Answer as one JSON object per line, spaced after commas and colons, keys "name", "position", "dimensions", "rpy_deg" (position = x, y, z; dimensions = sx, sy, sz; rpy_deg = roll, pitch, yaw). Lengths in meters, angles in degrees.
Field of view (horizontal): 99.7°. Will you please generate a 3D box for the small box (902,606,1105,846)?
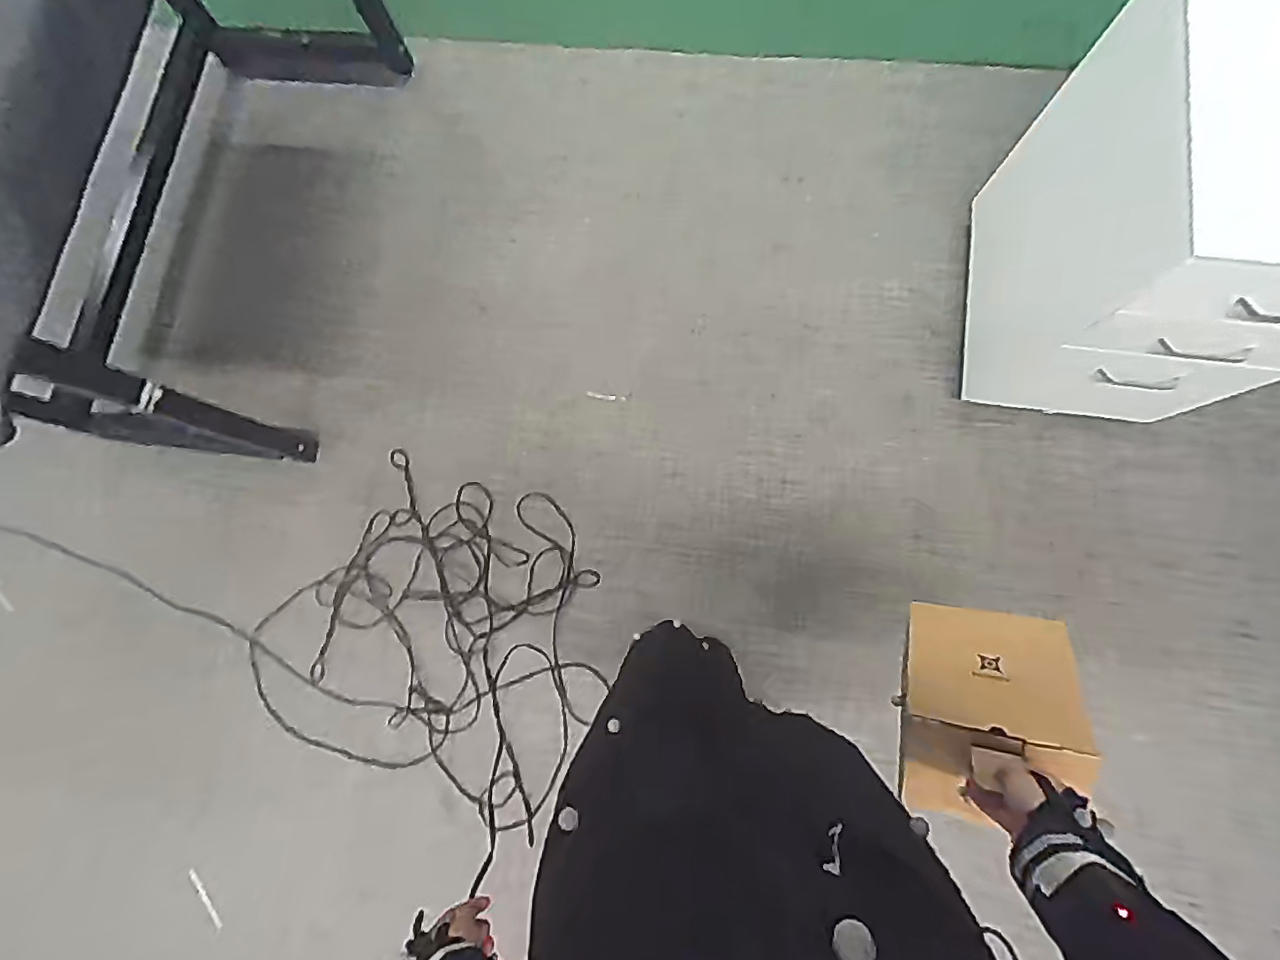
{"name": "small box", "position": [0.410, 0.284, 0.645], "dimensions": [0.168, 0.176, 0.179], "rpy_deg": [4, 35, 24]}
